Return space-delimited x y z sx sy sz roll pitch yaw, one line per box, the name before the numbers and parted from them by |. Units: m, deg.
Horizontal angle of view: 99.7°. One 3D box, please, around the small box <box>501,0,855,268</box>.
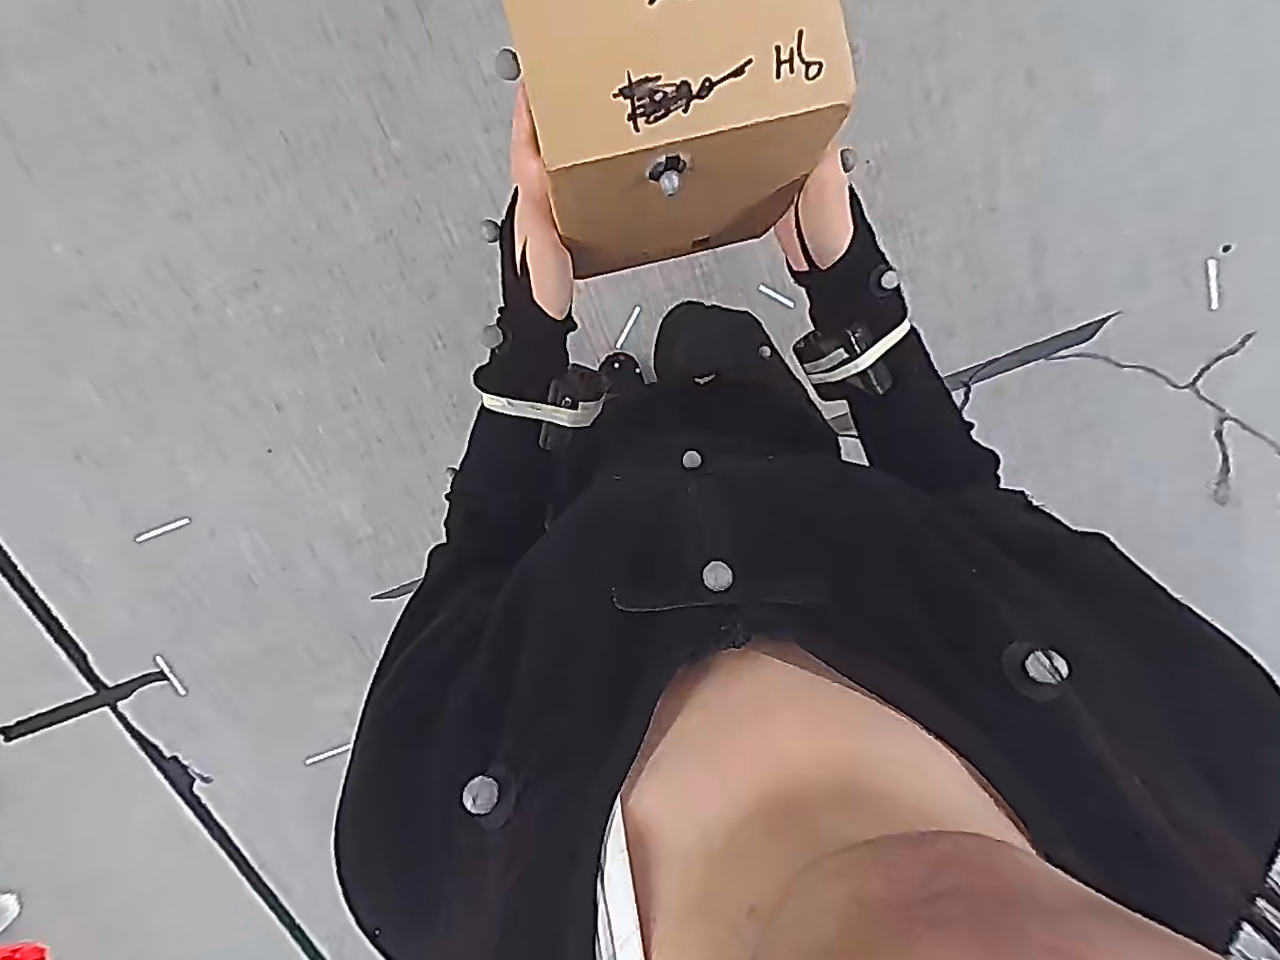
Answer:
small box | 0.006 -0.264 0.345 0.168 0.176 0.179 -14 92 -2
